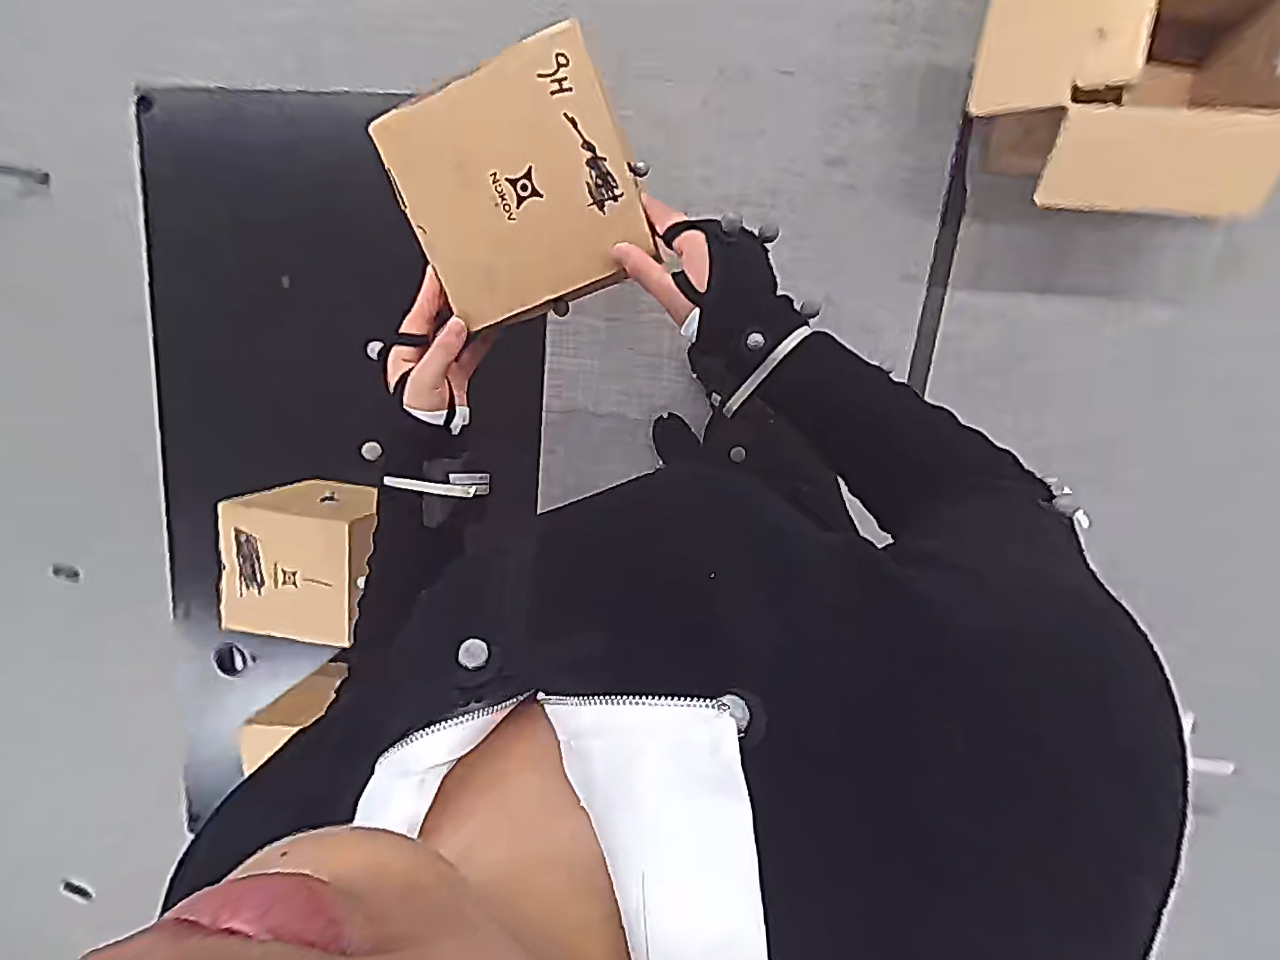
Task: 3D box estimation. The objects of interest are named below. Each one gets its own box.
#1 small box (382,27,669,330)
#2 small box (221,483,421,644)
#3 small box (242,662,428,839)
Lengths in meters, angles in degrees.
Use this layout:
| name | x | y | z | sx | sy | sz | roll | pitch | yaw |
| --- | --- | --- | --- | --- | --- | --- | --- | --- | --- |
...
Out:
| name | x | y | z | sx | sy | sz | roll | pitch | yaw |
| --- | --- | --- | --- | --- | --- | --- | --- | --- | --- |
| small box | -0.083 | -0.247 | 0.491 | 0.179 | 0.176 | 0.168 | -16 | 108 | 13 |
| small box | -0.433 | 0.103 | 0.753 | 0.179 | 0.176 | 0.168 | 7 | 101 | 5 |
| small box | -0.438 | 0.388 | 0.804 | 0.168 | 0.176 | 0.179 | -1 | 100 | 8 |
